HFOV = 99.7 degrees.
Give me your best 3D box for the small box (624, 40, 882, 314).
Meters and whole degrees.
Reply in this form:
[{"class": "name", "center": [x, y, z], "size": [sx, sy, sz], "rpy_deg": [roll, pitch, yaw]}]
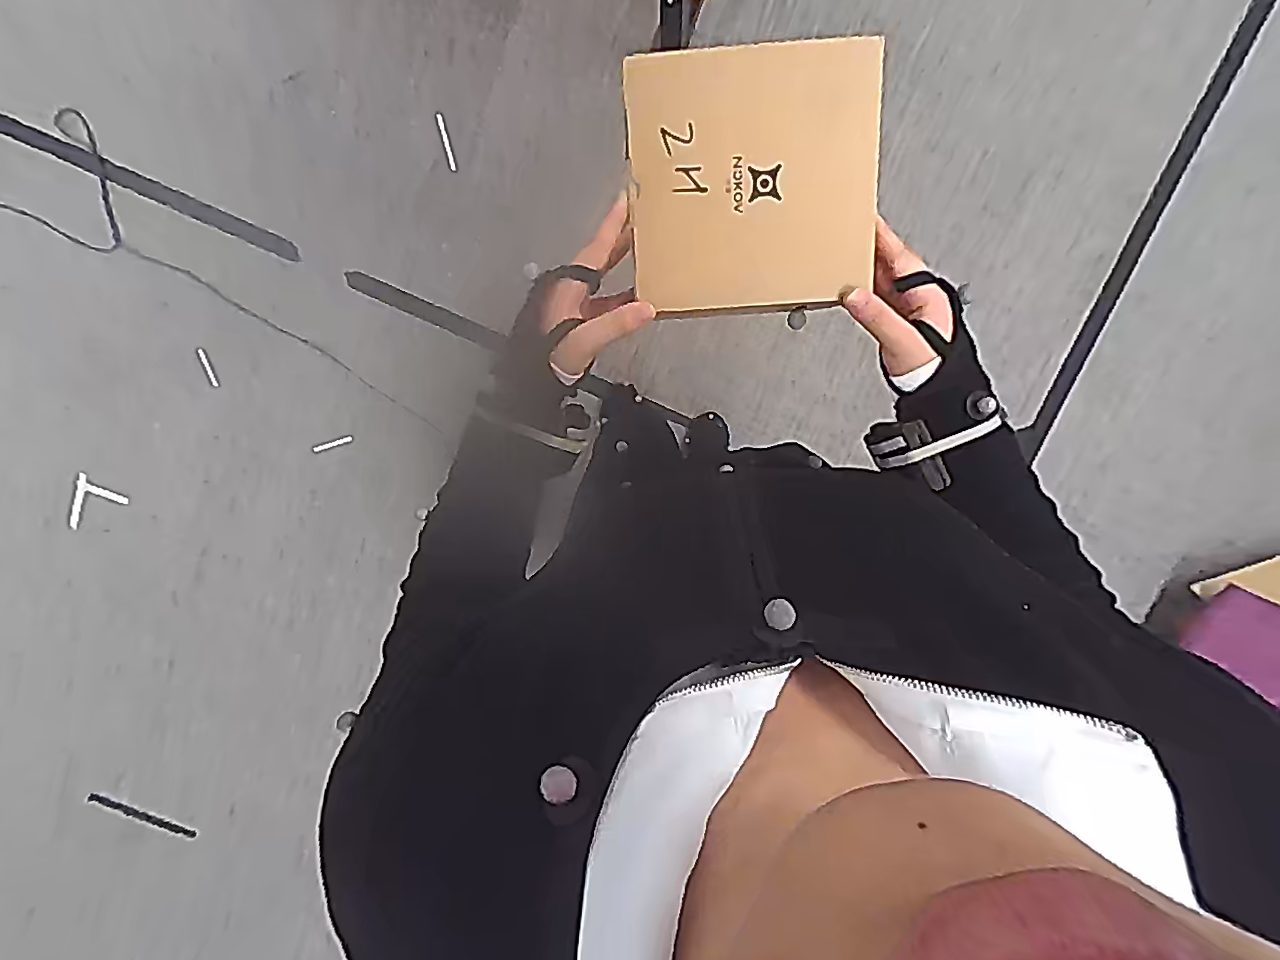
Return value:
[{"class": "small box", "center": [0.080, -0.232, 0.459], "size": [0.179, 0.176, 0.168], "rpy_deg": [-3, 105, 2]}]
